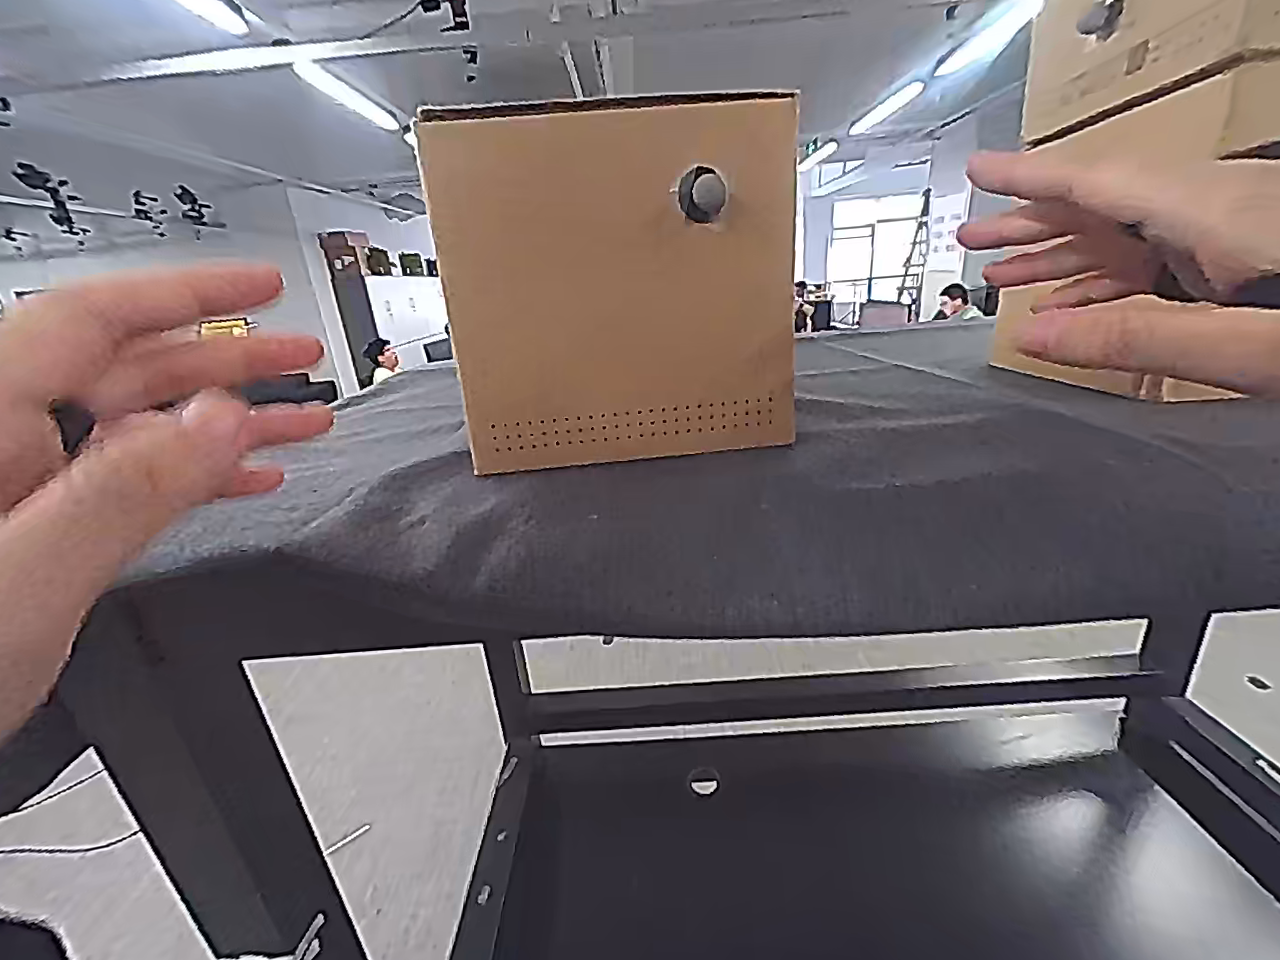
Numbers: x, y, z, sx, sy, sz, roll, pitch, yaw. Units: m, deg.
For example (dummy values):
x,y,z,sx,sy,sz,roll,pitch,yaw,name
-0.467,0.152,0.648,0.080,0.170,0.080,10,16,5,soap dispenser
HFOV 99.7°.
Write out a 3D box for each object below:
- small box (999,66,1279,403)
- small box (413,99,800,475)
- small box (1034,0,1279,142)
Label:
x,y,z,sx,sy,sz,roll,pitch,yaw,name
0.370,-0.146,0.350,0.168,0.176,0.179,-3,19,5,small box
-0.012,-0.110,0.340,0.179,0.176,0.168,-6,18,-2,small box
0.353,-0.298,0.288,0.179,0.176,0.168,-5,18,6,small box
